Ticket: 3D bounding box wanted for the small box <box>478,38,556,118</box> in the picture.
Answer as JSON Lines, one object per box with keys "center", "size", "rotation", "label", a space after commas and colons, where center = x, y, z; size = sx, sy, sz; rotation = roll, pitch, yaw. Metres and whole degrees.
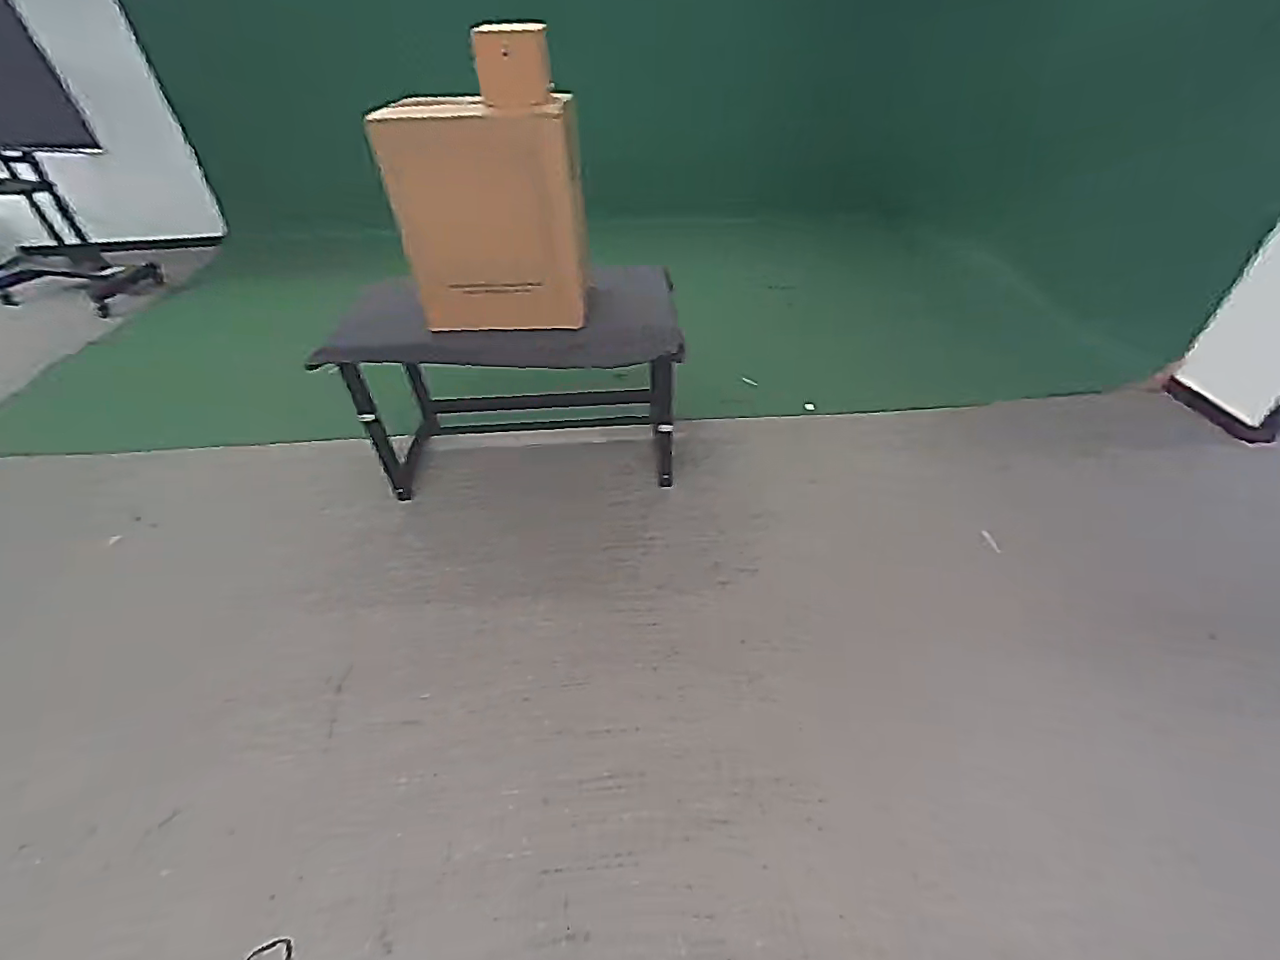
{"center": [-0.344, -1.146, 1.542], "size": [0.179, 0.176, 0.168], "rotation": [1, 44, -1], "label": "small box"}
